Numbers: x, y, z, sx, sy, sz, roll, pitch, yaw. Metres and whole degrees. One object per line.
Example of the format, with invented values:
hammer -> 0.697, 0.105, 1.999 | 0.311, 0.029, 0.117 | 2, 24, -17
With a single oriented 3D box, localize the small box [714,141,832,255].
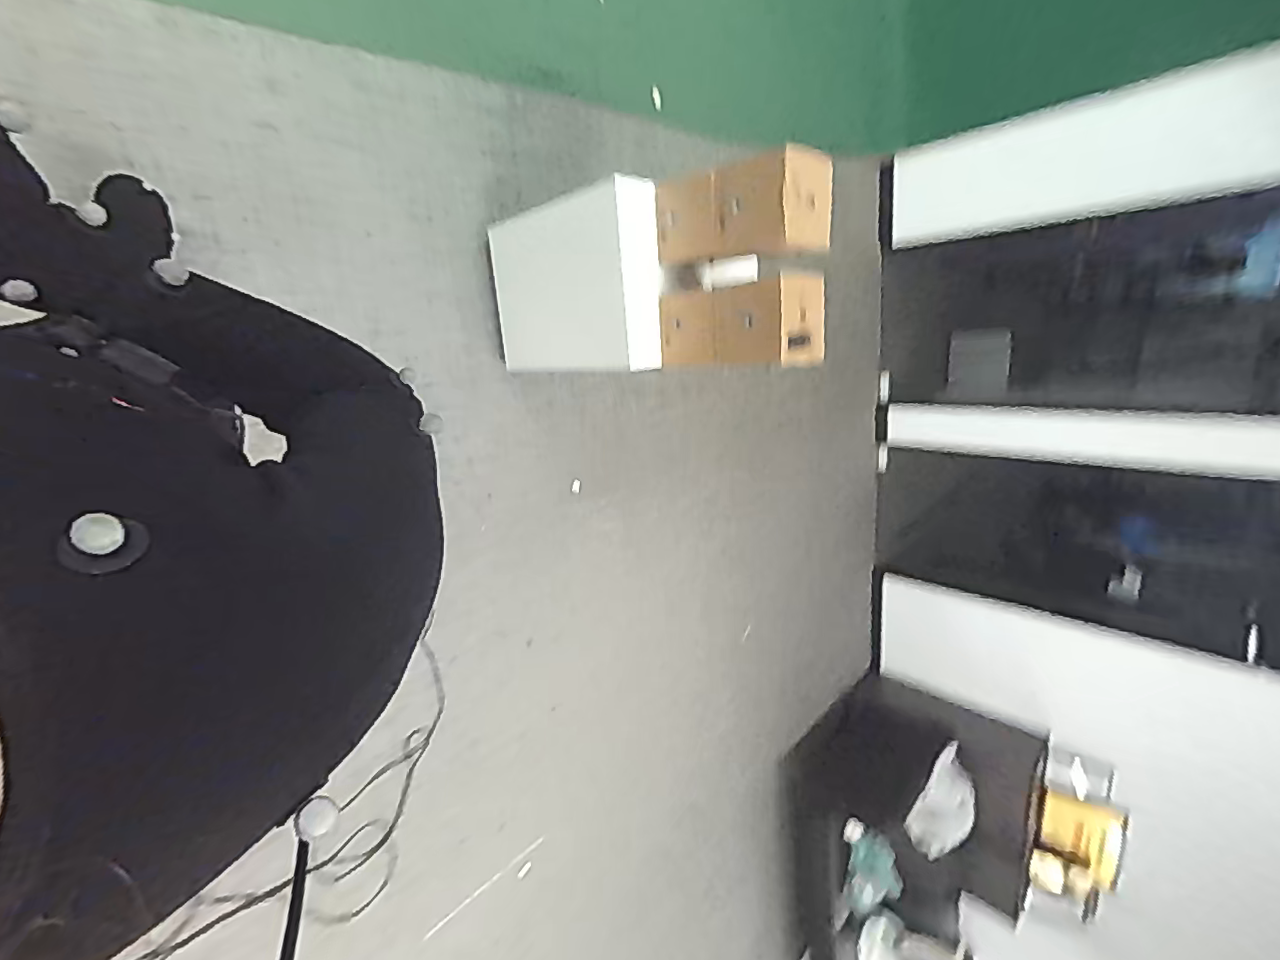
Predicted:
small box -> 0.269, -0.561, 1.101 | 0.179, 0.176, 0.168 | -16, 110, -41

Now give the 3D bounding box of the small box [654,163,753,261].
small box -> 0.152, -0.590, 1.213 | 0.179, 0.176, 0.168 | -17, 111, -40

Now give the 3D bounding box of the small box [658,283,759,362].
small box -> 0.162, -0.366, 1.272 | 0.179, 0.176, 0.168 | -16, 108, -41
